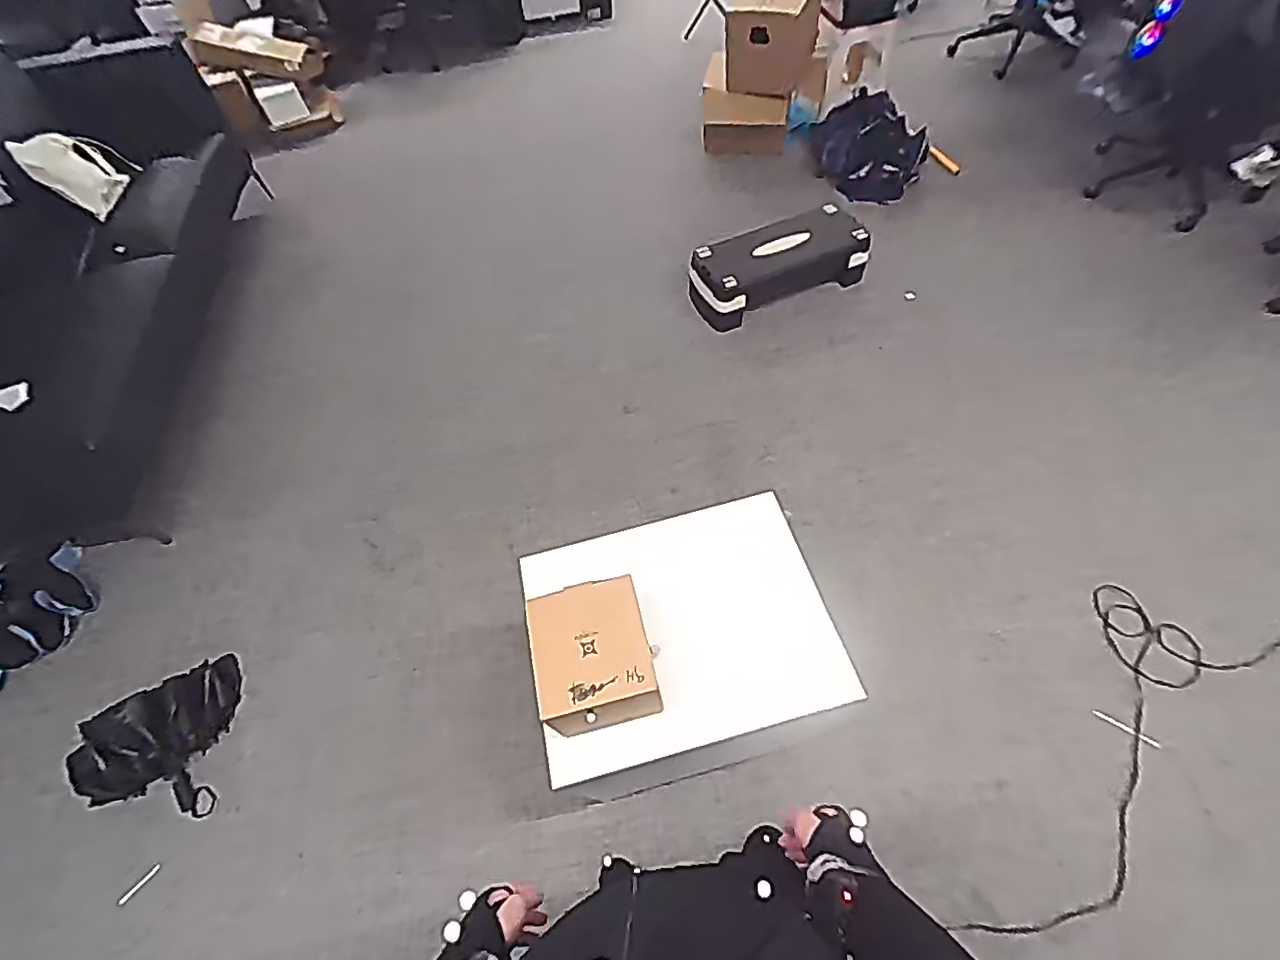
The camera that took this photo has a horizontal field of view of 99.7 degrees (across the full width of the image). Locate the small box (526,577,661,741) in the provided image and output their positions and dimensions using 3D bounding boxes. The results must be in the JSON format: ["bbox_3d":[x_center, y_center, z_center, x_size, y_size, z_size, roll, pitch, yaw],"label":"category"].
[{"bbox_3d":[-0.069,0.279,0.834,0.168,0.176,0.179,-14,56,-4],"label":"small box"}]
